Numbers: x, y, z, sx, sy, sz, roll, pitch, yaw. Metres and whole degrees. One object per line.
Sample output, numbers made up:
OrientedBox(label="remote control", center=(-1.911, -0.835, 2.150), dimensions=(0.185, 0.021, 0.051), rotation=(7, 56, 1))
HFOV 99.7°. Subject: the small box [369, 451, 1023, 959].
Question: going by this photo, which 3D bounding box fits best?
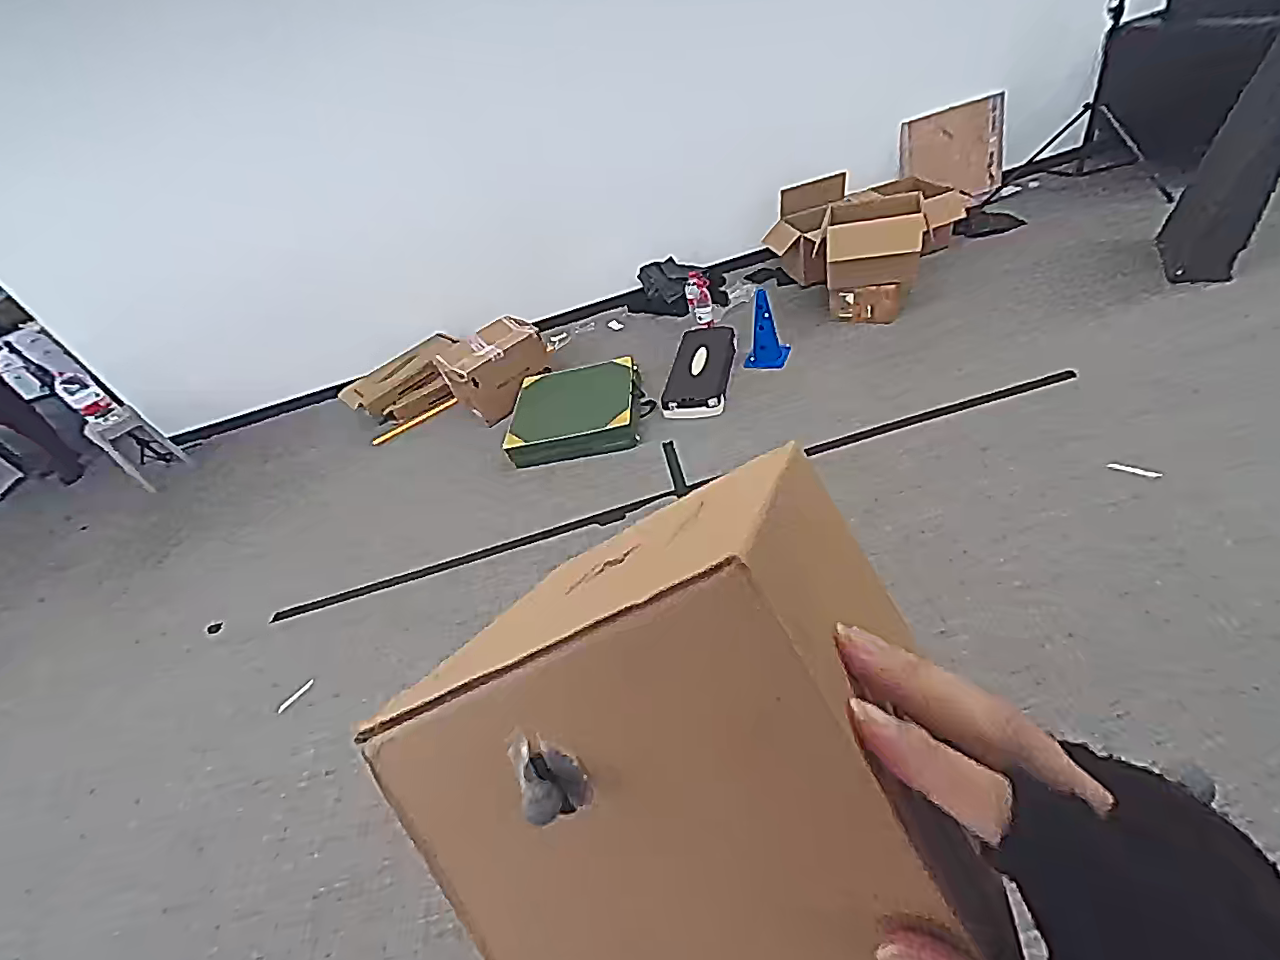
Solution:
OrientedBox(label="small box", center=(0.028, 0.113, 0.249), dimensions=(0.179, 0.176, 0.168), rotation=(-31, 2, 25))
